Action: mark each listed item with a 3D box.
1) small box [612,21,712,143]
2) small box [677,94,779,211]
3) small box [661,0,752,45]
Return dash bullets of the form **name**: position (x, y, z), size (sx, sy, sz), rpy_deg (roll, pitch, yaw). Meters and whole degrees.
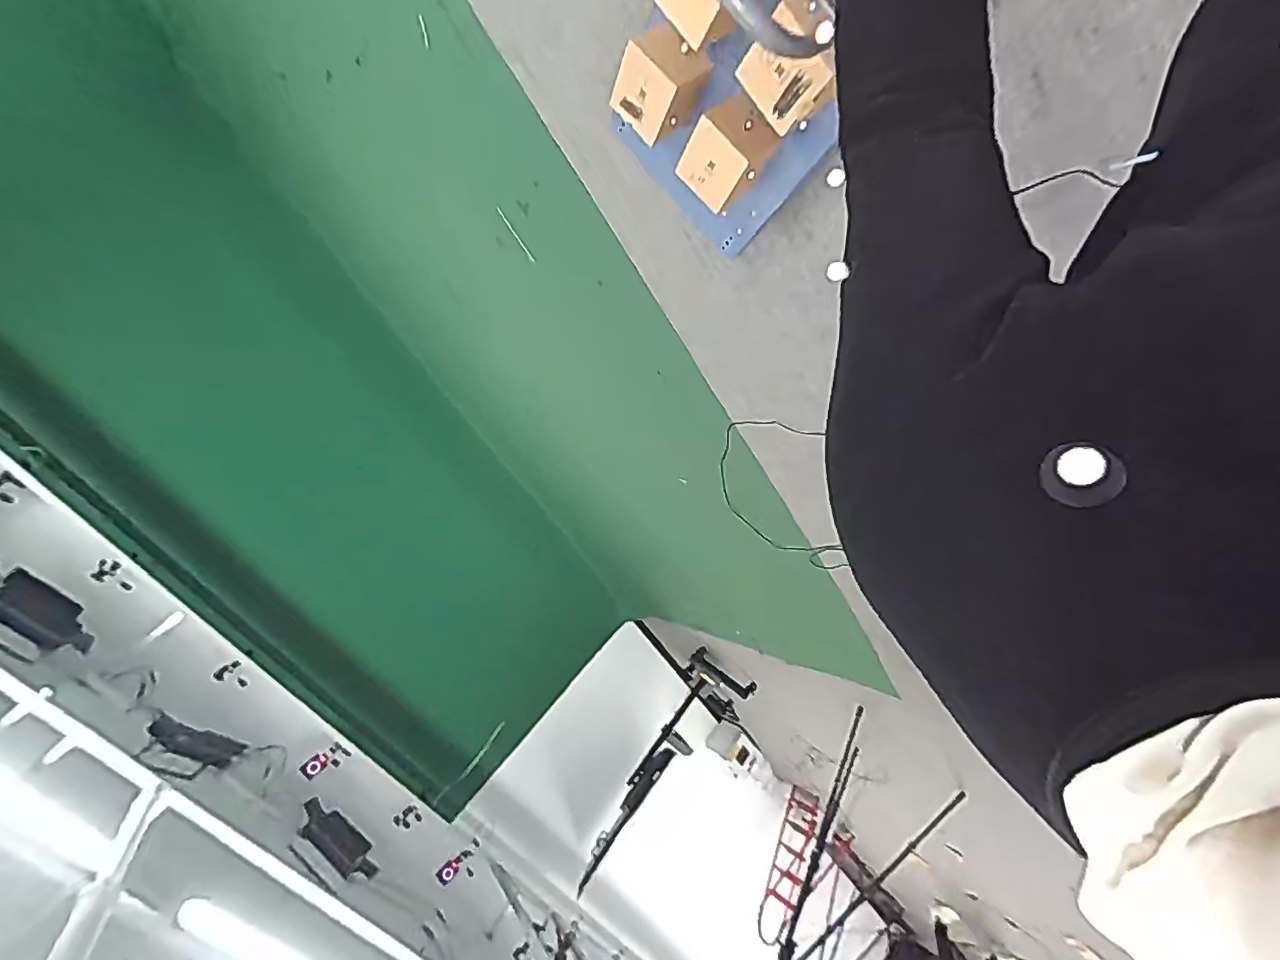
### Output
- **small box**: position (0.058, -1.035, 1.406), size (0.168, 0.176, 0.179), rpy_deg (45, 152, -2)
- **small box**: position (0.235, -0.856, 1.411), size (0.168, 0.176, 0.179), rpy_deg (46, 153, -1)
- **small box**: position (0.162, -1.103, 1.166), size (0.168, 0.176, 0.179), rpy_deg (48, 152, -6)
